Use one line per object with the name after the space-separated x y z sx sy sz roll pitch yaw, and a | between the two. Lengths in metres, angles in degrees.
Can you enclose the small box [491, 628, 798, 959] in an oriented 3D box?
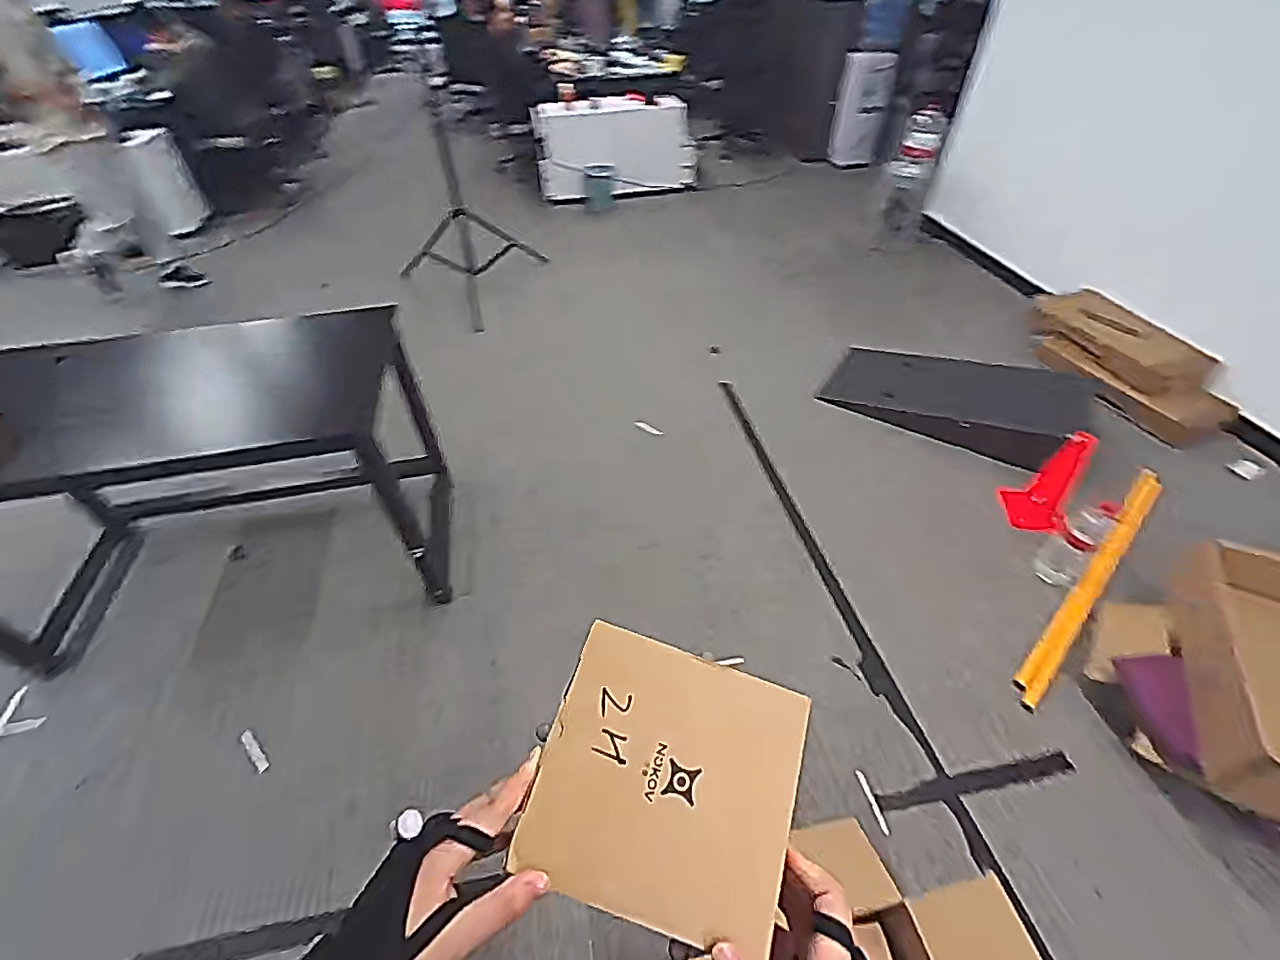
0.004 0.241 0.439 0.179 0.176 0.168 18 61 3 | small box
